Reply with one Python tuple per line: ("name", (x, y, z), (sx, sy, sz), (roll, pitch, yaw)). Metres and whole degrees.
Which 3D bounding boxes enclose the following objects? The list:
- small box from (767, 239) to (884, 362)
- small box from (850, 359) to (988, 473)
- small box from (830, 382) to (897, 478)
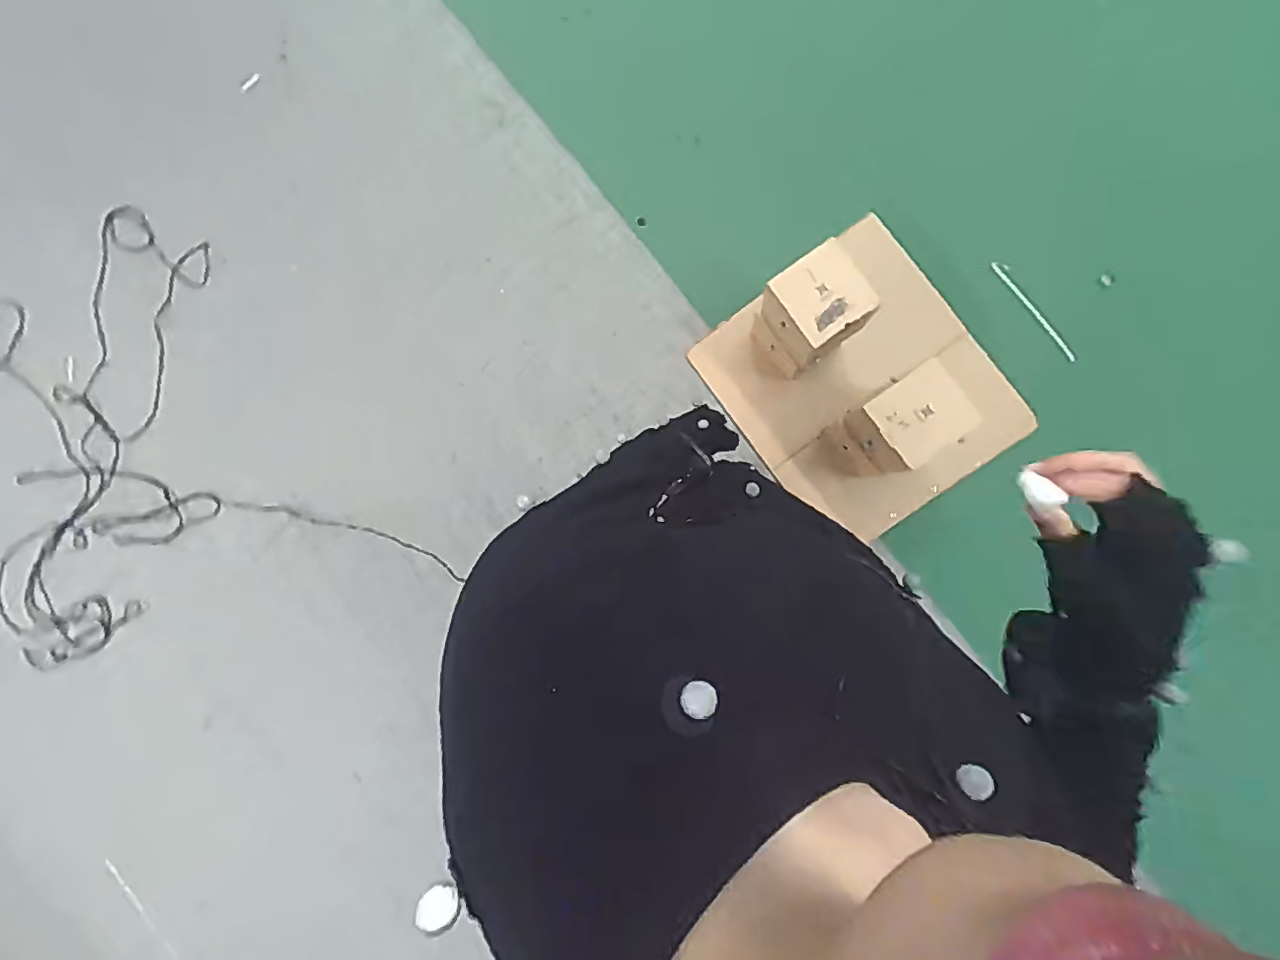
("small box", (0.395, -0.378, 1.185), (0.168, 0.176, 0.179), (-33, 83, 6))
("small box", (0.583, -0.129, 1.158), (0.179, 0.176, 0.168), (-35, 84, 6))
("small box", (0.596, -0.120, 1.323), (0.179, 0.176, 0.168), (-38, 85, 6))
